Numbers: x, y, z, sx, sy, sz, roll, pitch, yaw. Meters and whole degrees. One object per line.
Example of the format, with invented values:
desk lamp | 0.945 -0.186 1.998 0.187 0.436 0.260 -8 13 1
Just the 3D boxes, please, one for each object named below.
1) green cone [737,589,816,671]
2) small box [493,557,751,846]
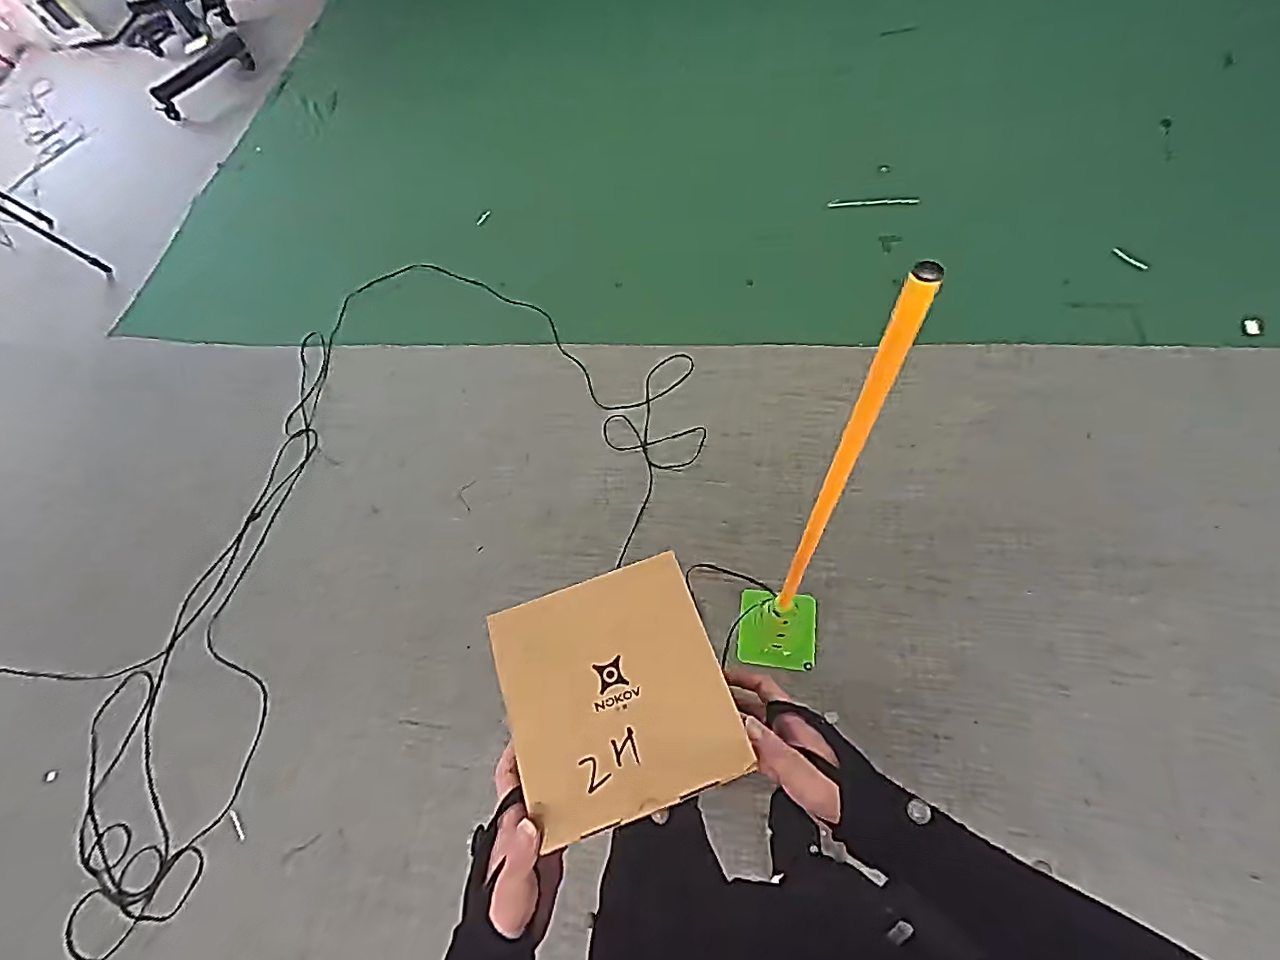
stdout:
green cone | 0.336 0.333 1.316 0.202 0.368 0.200 4 67 14
small box | -0.017 0.197 0.491 0.168 0.176 0.179 -18 64 -4
